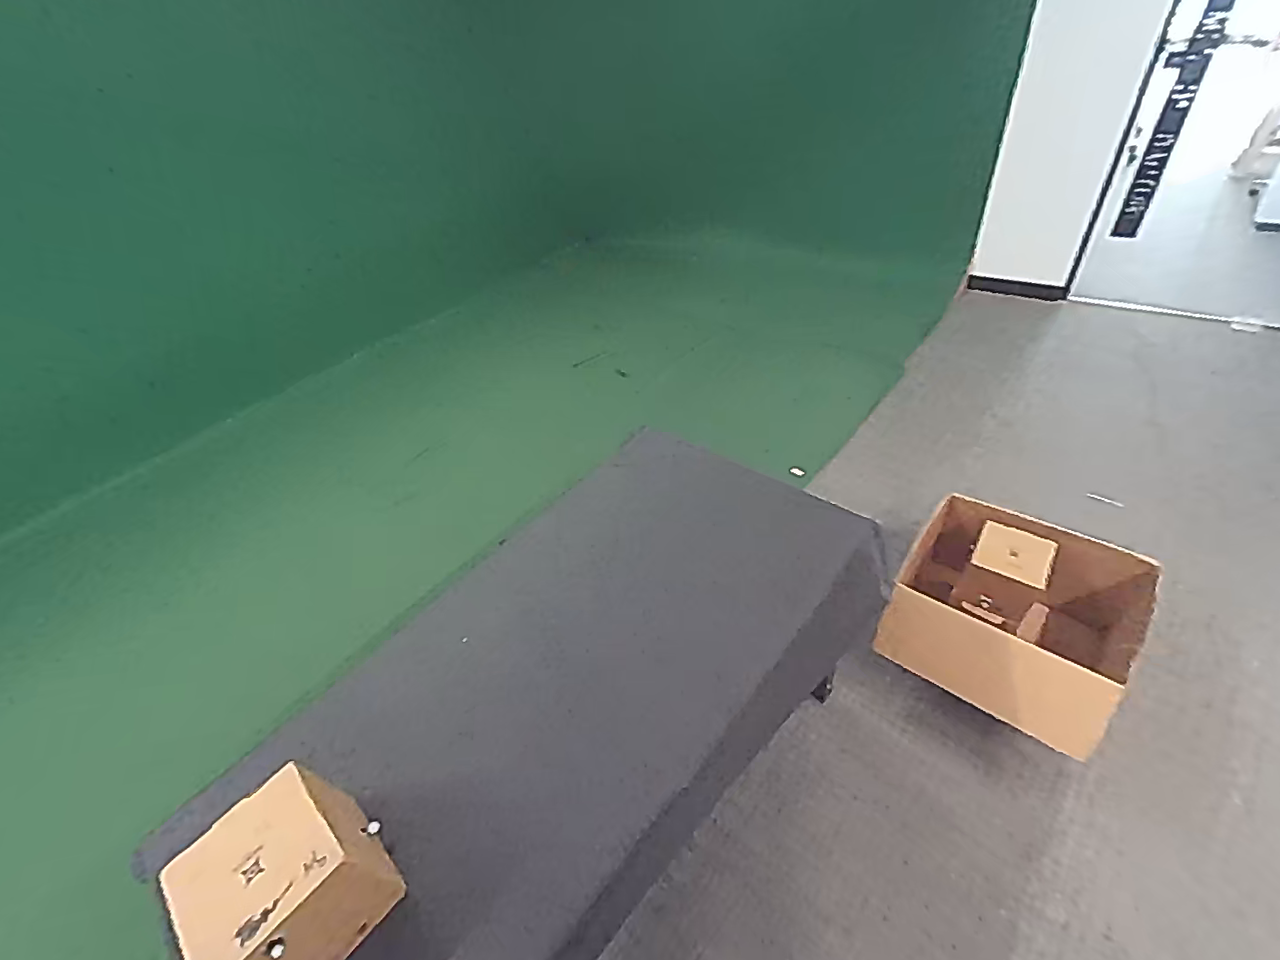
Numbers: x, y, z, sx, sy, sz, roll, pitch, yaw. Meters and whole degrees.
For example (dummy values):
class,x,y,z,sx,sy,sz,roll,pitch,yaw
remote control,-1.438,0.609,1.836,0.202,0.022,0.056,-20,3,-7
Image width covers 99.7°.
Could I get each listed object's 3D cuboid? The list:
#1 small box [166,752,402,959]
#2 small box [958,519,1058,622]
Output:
class,x,y,z,sx,sy,sz,roll,pitch,yaw
small box,-0.446,0.502,0.694,0.179,0.176,0.168,26,53,35
small box,0.984,0.243,1.455,0.168,0.176,0.179,22,53,29
